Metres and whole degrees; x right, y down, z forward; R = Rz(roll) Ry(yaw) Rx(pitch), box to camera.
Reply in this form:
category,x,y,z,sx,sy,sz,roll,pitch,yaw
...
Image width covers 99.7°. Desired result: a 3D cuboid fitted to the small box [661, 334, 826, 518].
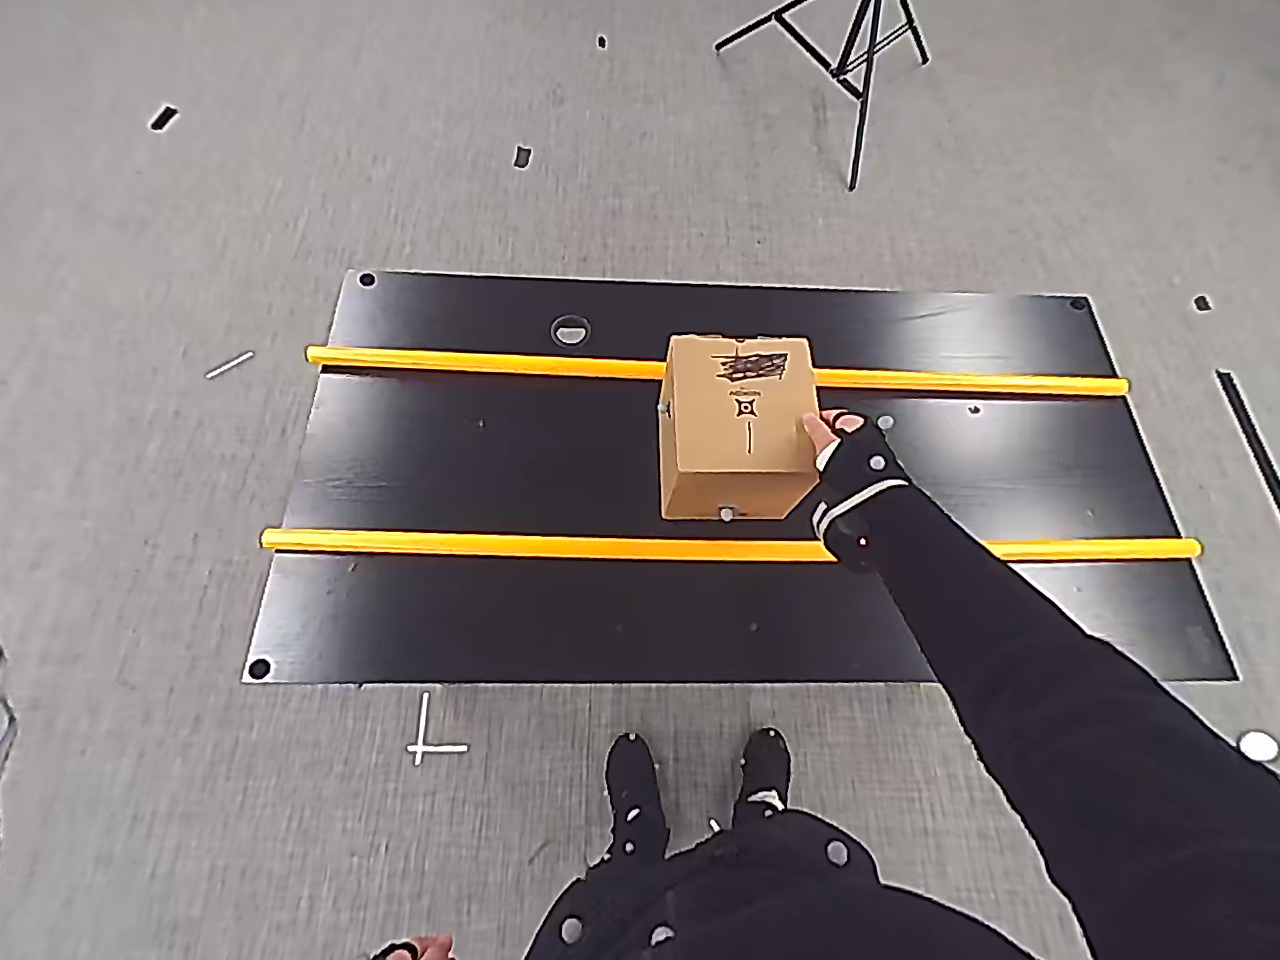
category,x,y,z,sx,sy,sz,roll,pitch,yaw
small box,0.116,-0.061,0.685,0.168,0.176,0.179,0,69,-3
